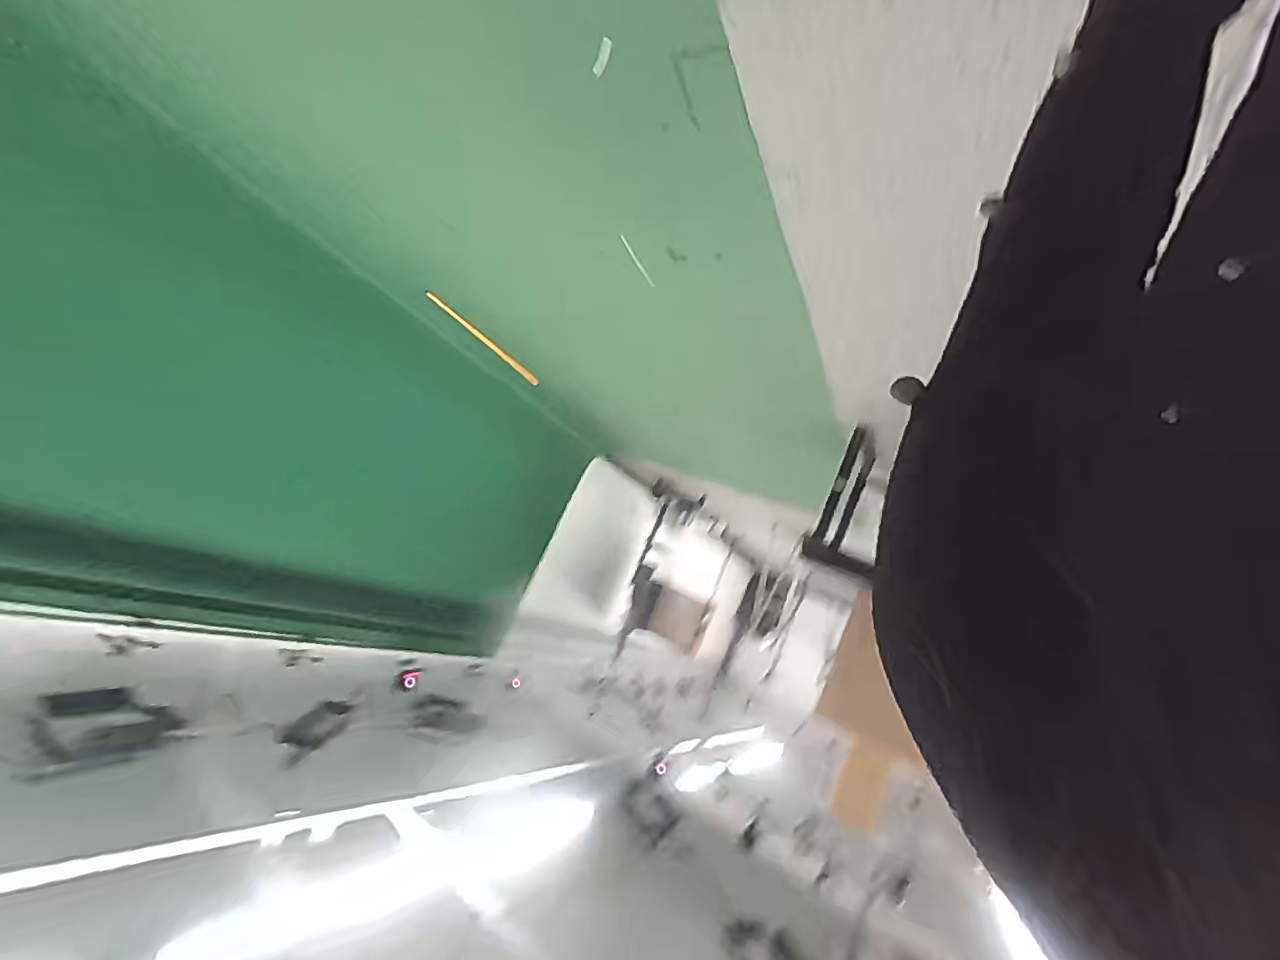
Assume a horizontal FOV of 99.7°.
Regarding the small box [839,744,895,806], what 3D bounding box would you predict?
[{"bbox_3d":[0.986,1.276,2.355,0.179,0.176,0.168,21,167,24],"label":"small box"}]
